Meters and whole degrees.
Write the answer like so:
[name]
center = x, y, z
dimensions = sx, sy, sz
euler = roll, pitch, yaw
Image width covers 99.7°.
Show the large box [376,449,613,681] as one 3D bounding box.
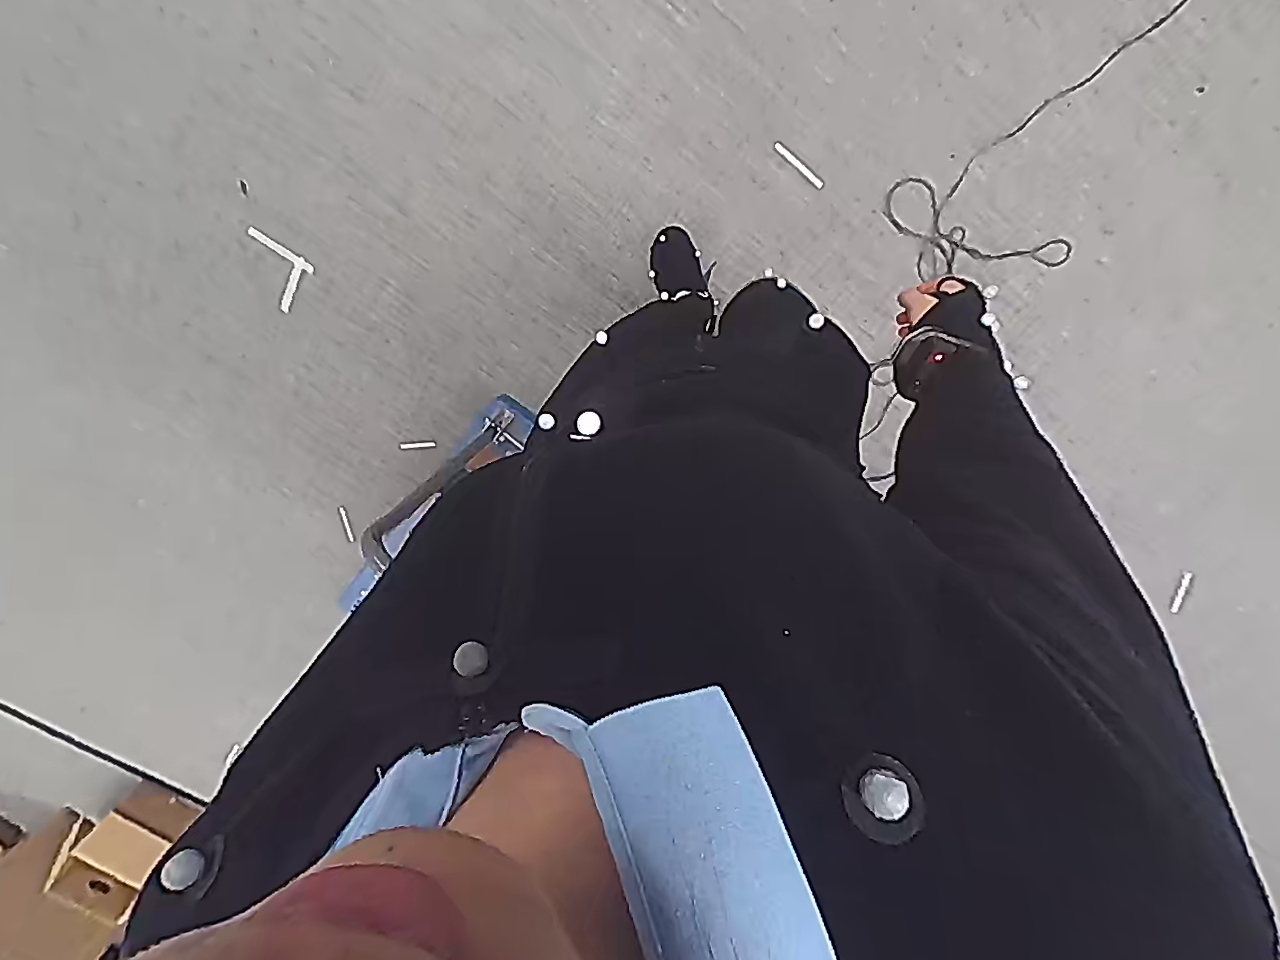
[large box]
center = -0.326, 0.195, 1.311
dimensions = 0.408, 0.320, 0.320
euler = 36, 111, -10
